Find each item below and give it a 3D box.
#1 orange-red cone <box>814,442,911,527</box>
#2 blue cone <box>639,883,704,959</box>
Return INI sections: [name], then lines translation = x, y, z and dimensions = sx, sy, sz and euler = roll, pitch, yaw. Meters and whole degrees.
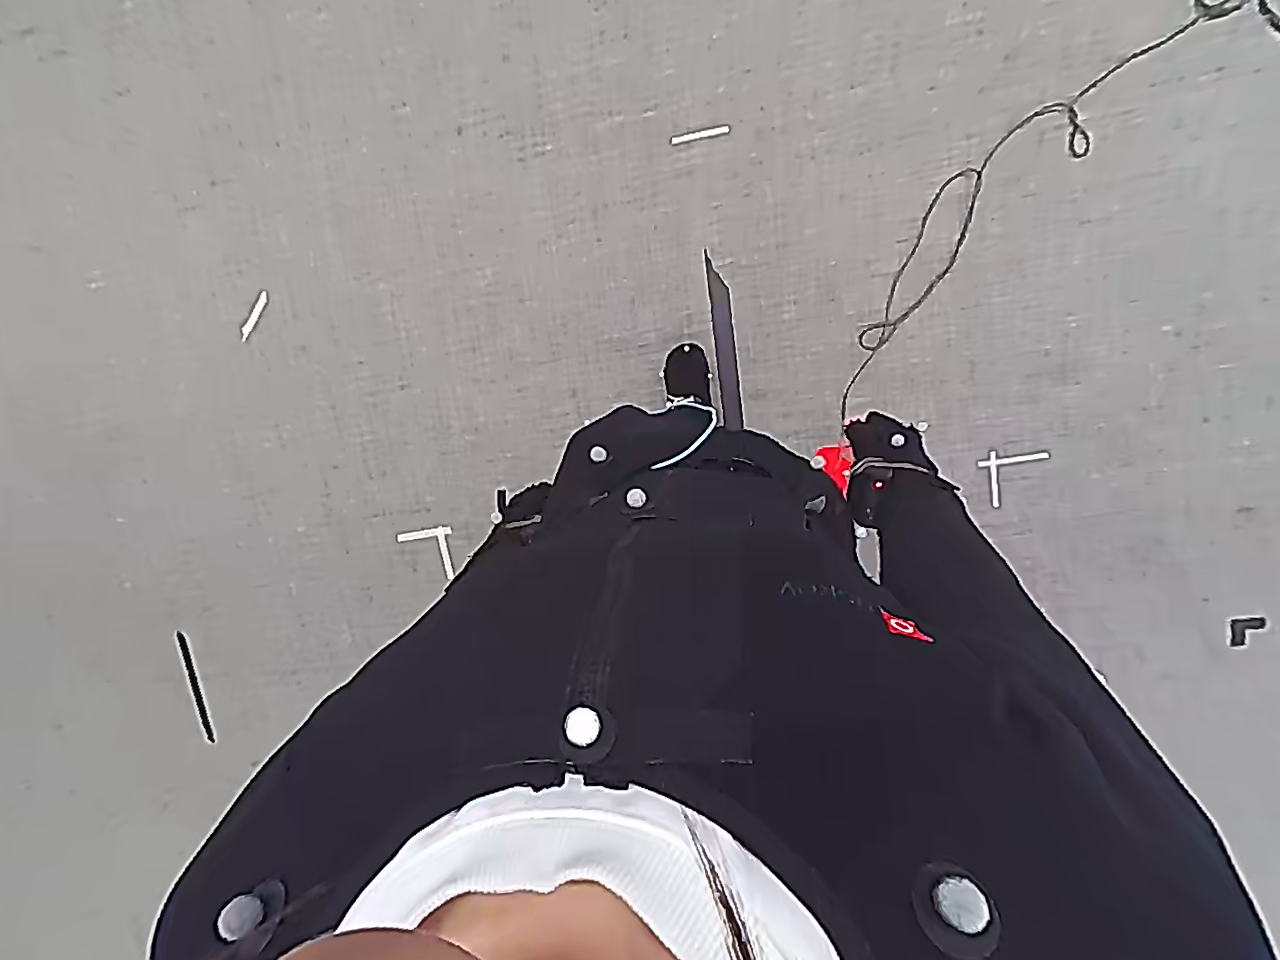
[orange-red cone]
translation = 0.513, 0.036, 1.175
dimensions = 0.199, 0.360, 0.198
euler = -2, 100, 8
[blue cone]
translation = 0.067, 1.330, 1.469
dimensions = 0.192, 0.380, 0.193
euler = -2, 98, 11
